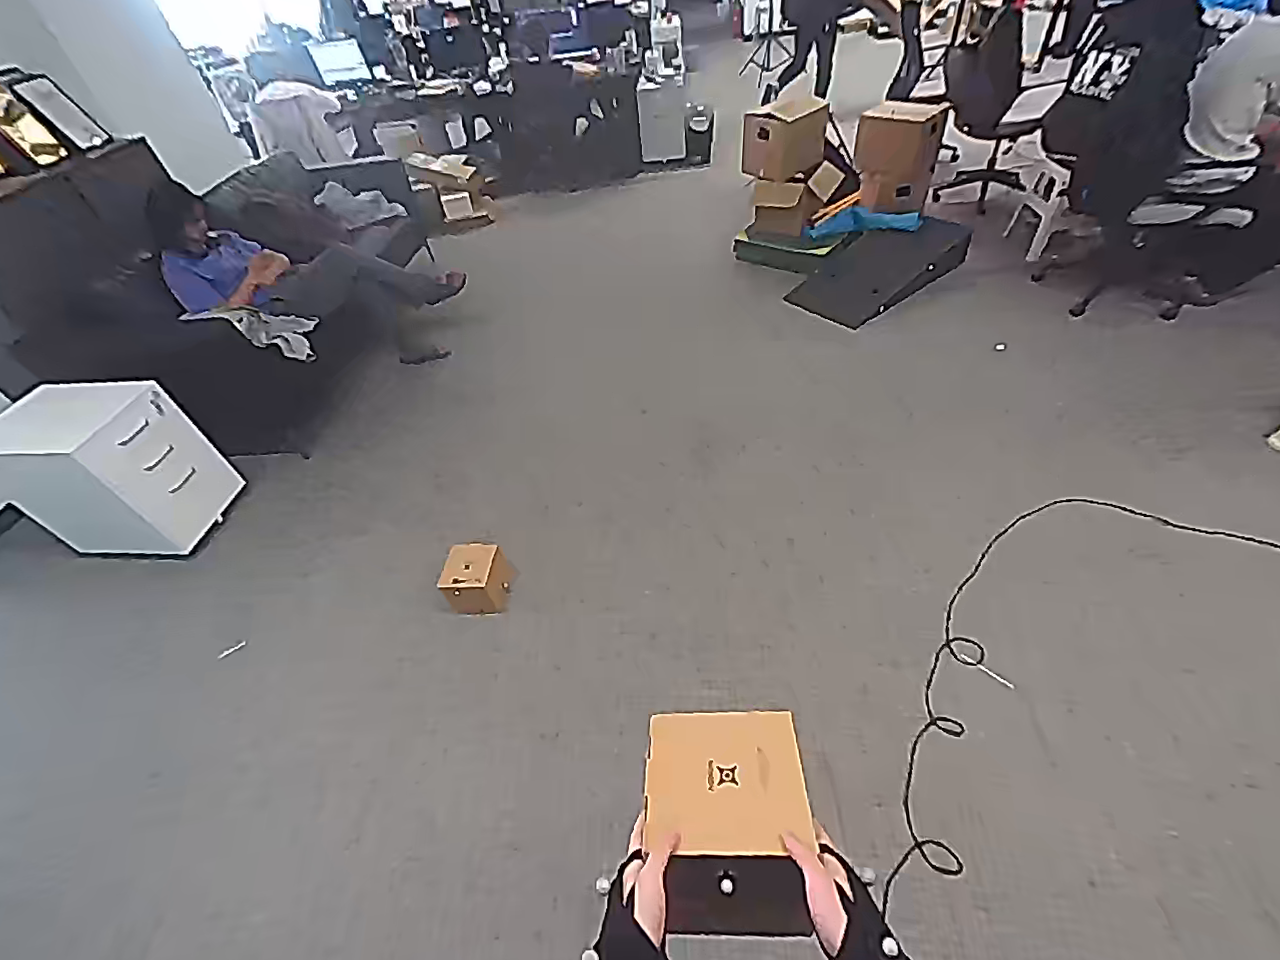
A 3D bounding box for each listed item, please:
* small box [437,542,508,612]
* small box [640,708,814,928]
[{"bbox_3d":[-0.568,0.334,1.859,0.168,0.176,0.179,-1,45,8],"label":"small box"},{"bbox_3d":[0.099,0.398,0.644,0.179,0.176,0.168,-4,29,5],"label":"small box"}]
